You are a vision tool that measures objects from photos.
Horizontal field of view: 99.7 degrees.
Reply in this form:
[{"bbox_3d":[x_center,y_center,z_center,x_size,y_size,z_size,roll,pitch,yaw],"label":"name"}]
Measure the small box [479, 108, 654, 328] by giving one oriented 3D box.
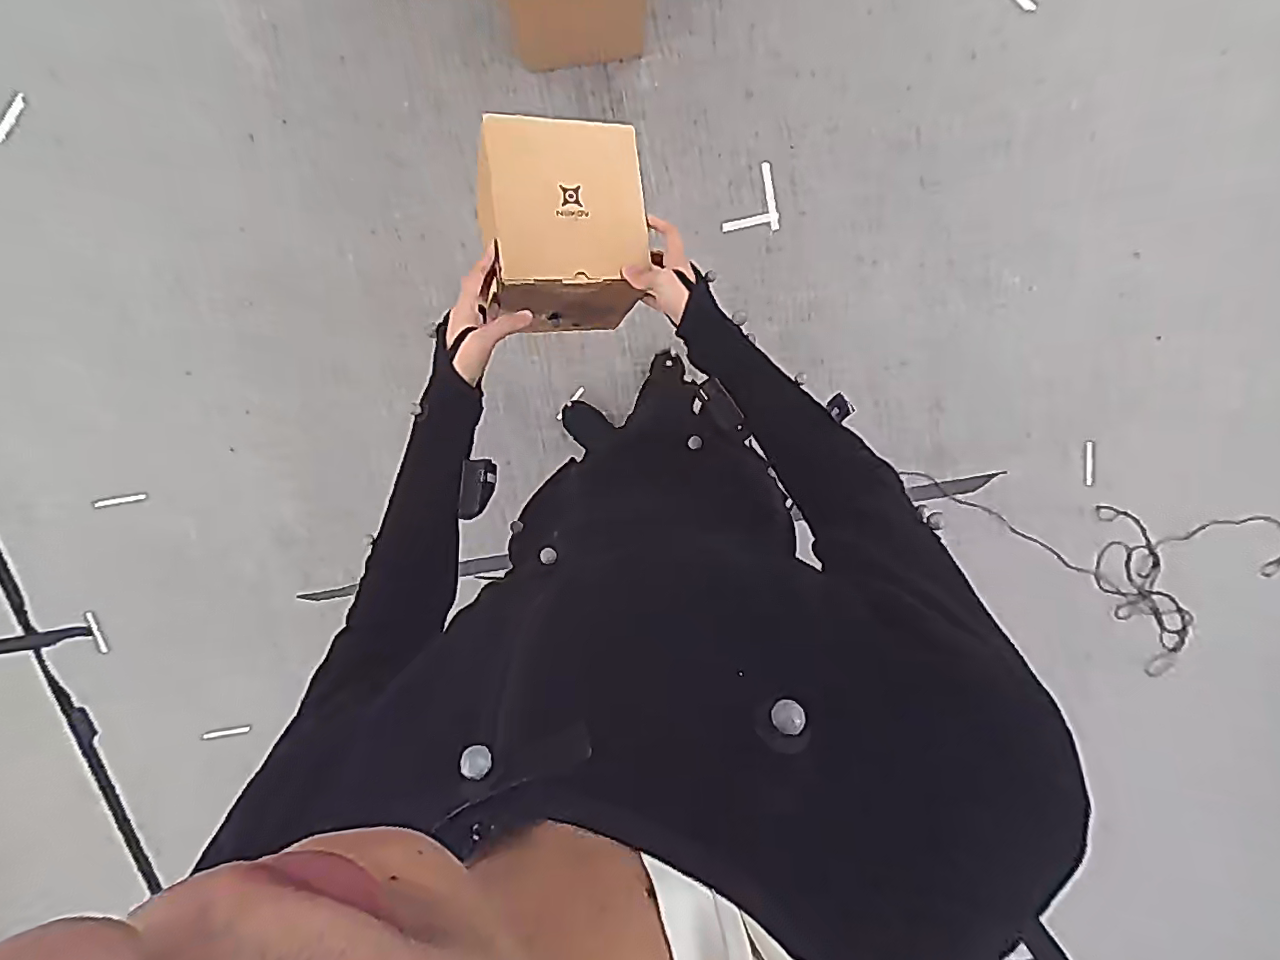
[{"bbox_3d":[-0.096,-0.295,0.643,0.168,0.176,0.179,-8,90,-18],"label":"small box"}]
